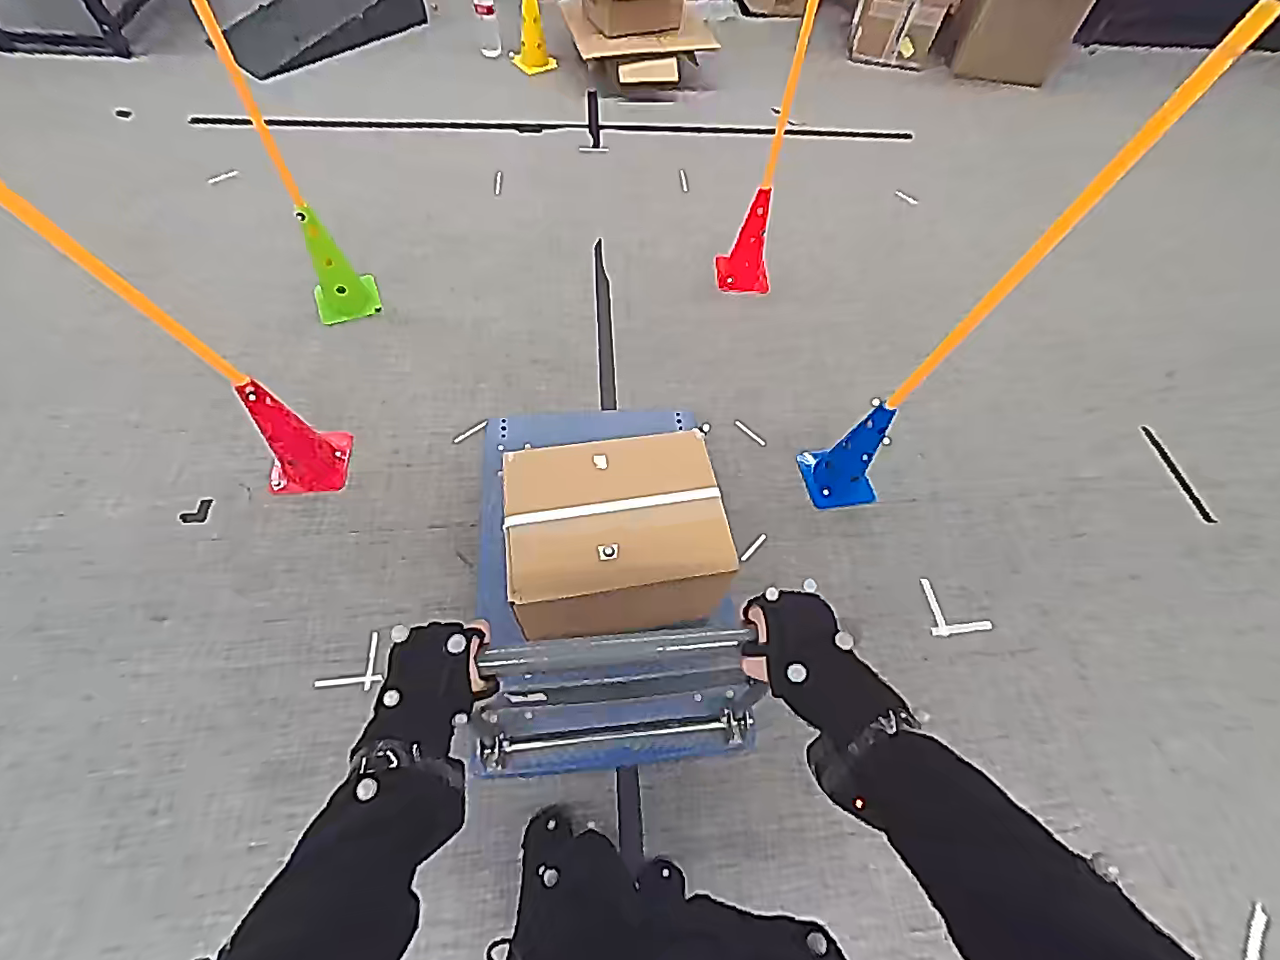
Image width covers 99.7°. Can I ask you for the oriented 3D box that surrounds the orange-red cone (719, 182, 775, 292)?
[{"bbox_3d":[0.417,-0.884,1.932,0.199,0.360,0.198,4,61,-3],"label":"orange-red cone"}]

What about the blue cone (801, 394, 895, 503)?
[{"bbox_3d":[0.615,-0.100,1.514,0.193,0.380,0.192,-5,60,-8],"label":"blue cone"}]
